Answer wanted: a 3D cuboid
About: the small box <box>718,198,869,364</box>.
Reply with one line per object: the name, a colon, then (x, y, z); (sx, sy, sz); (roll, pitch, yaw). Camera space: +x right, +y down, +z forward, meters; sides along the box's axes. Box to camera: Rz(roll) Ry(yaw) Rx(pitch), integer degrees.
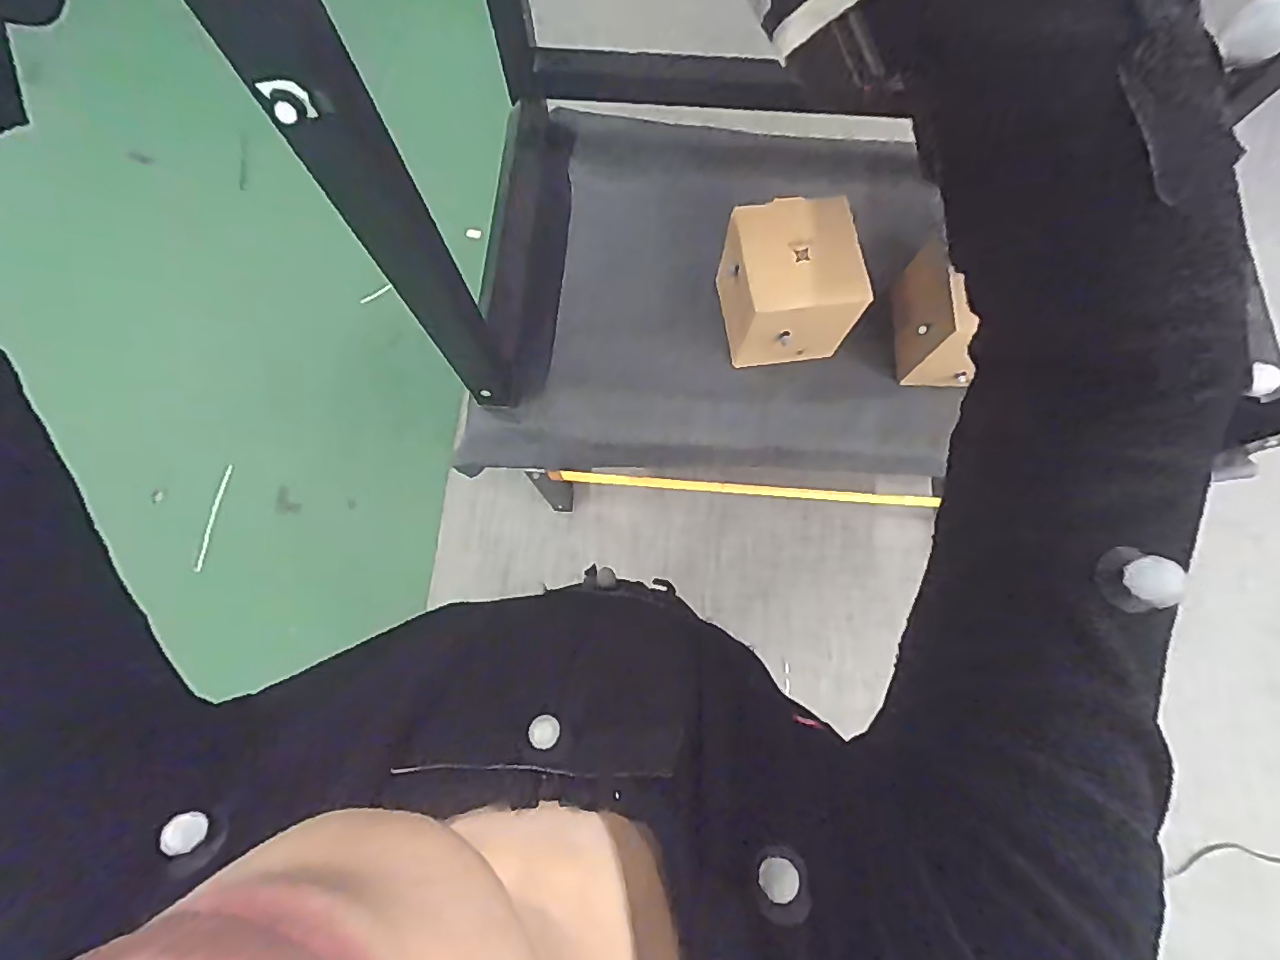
small box: (0.221, -0.291, 0.827); (0.168, 0.176, 0.179); (-7, 74, -2)
